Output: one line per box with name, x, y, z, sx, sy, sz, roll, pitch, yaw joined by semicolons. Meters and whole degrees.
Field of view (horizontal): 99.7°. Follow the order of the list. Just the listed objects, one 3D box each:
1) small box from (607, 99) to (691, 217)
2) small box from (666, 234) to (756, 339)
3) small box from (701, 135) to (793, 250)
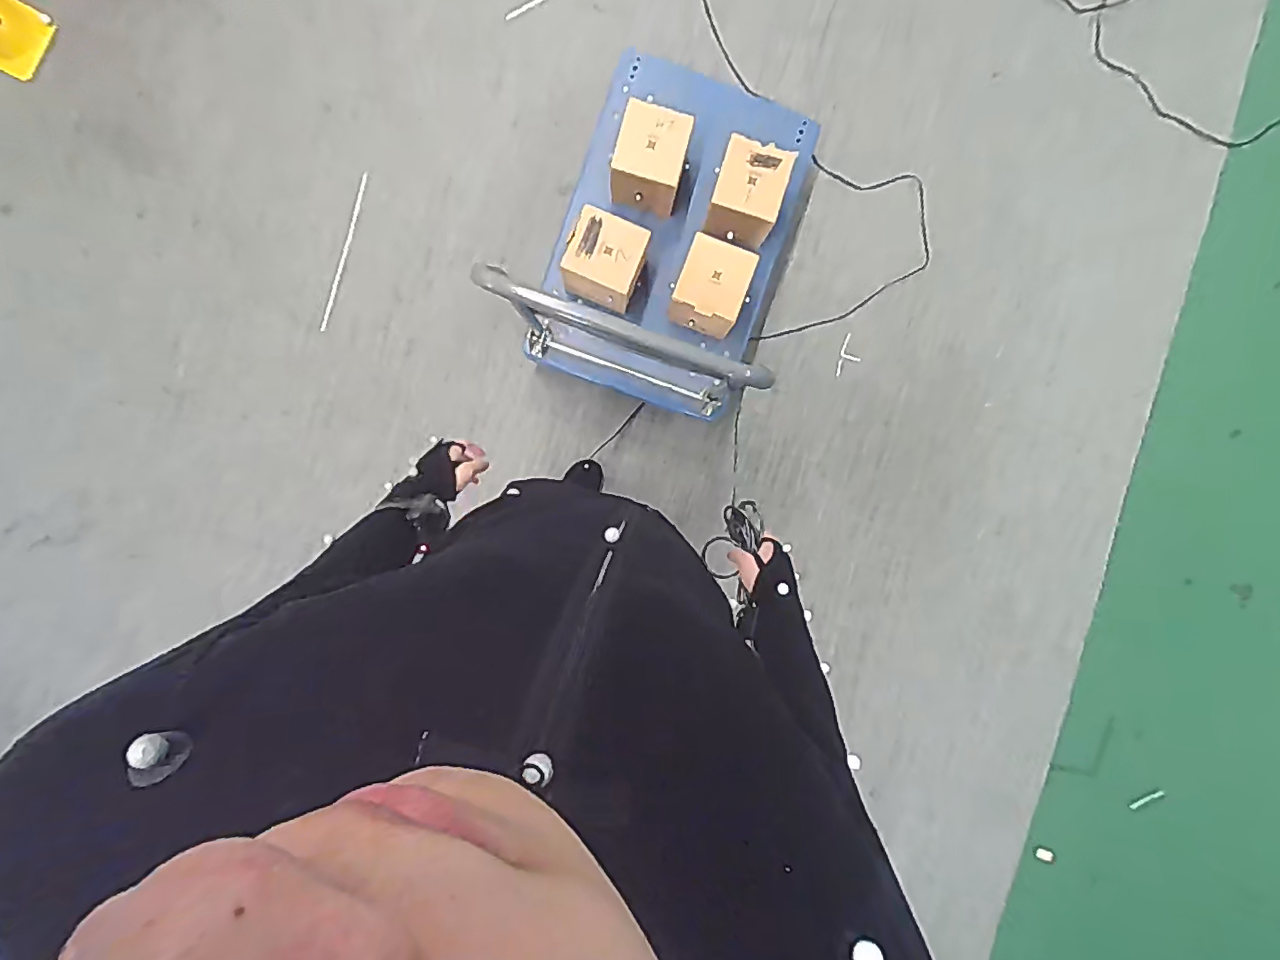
small box;0.019;-0.799;1.363;0.168;0.176;0.179;15;91;-4
small box;0.173;-0.484;1.379;0.168;0.176;0.179;20;91;-3
small box;0.262;-0.722;1.376;0.168;0.176;0.179;18;92;-2
